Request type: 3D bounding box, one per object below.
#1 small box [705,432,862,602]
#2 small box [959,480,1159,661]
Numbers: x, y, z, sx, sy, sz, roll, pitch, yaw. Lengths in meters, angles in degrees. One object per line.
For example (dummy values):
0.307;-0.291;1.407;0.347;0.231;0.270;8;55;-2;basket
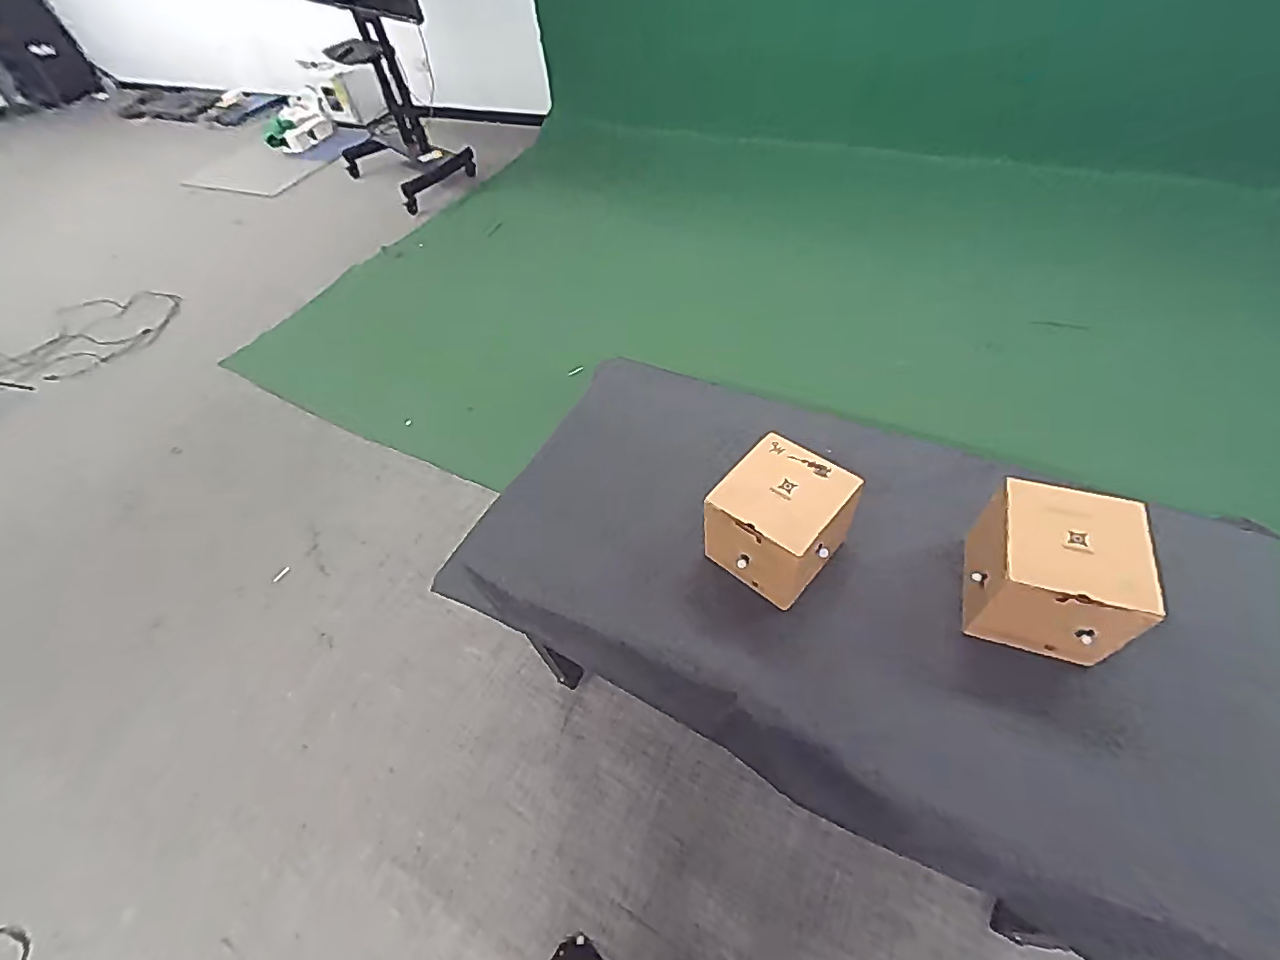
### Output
0.224;0.062;0.868;0.168;0.176;0.179;35;64;29;small box
0.575;0.131;0.769;0.168;0.176;0.179;14;54;16;small box
